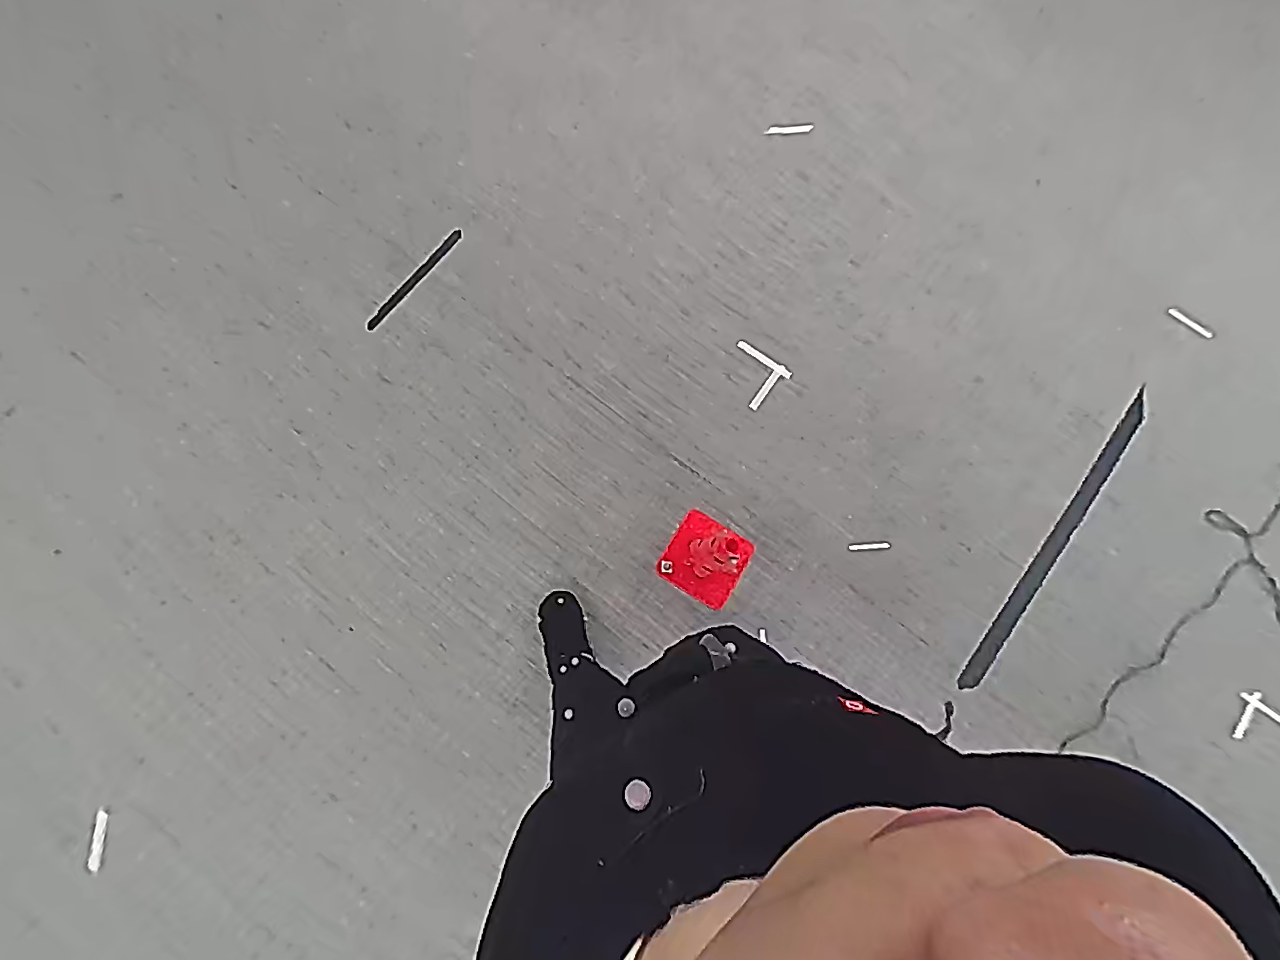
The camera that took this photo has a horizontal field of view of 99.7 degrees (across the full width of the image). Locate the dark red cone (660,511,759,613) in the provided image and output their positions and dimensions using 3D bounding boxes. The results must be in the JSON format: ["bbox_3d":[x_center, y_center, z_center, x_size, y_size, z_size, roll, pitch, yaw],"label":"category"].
[{"bbox_3d":[0.182,0.166,1.187,0.201,0.394,0.202,30,78,4],"label":"dark red cone"}]
